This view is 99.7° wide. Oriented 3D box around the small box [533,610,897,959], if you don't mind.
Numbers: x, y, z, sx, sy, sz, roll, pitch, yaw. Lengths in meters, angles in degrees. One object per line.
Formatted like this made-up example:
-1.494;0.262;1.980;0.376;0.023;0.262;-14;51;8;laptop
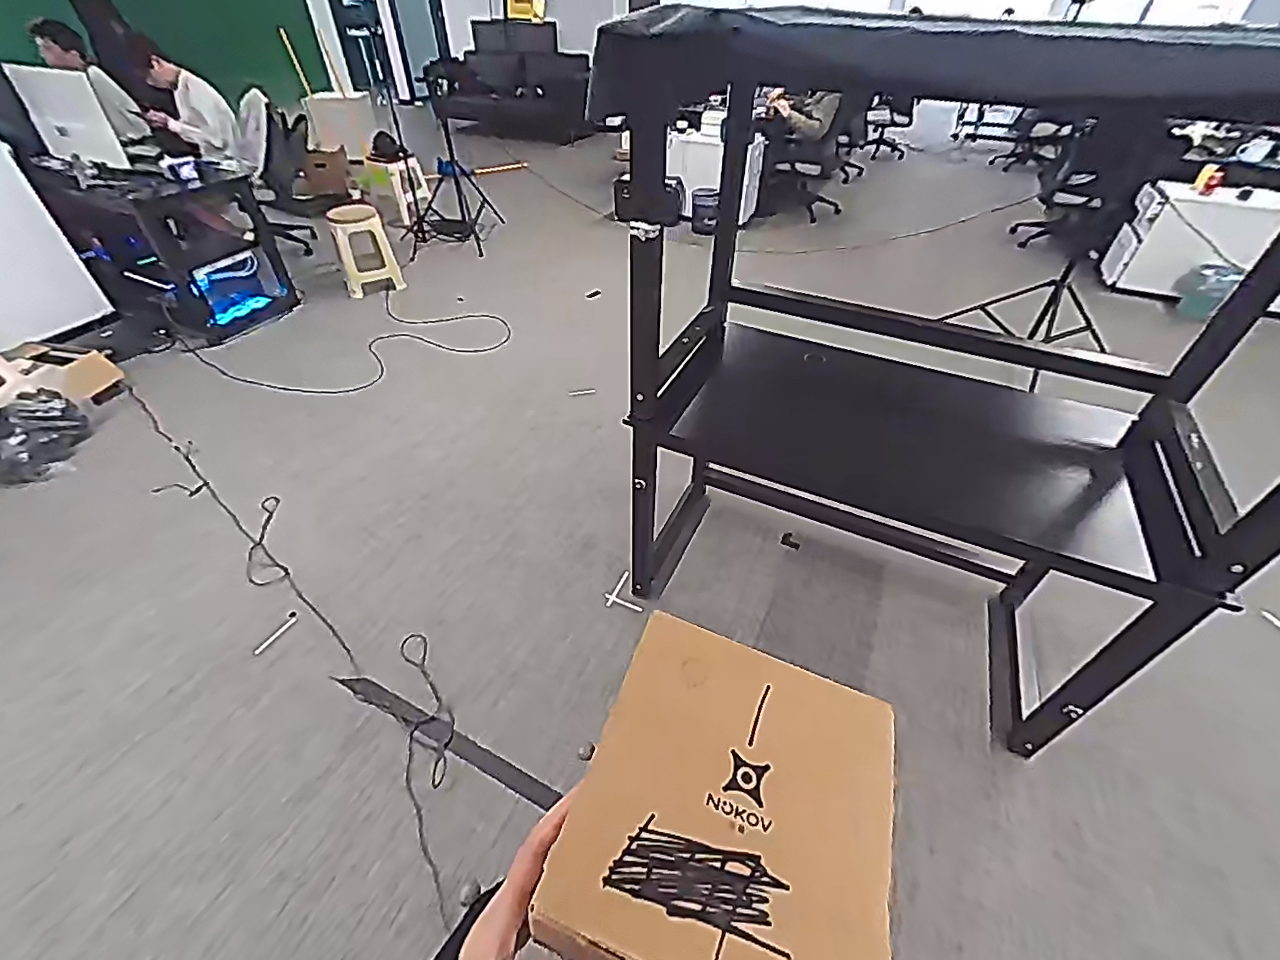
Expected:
0.045;0.225;0.352;0.168;0.176;0.179;20;46;9;small box
